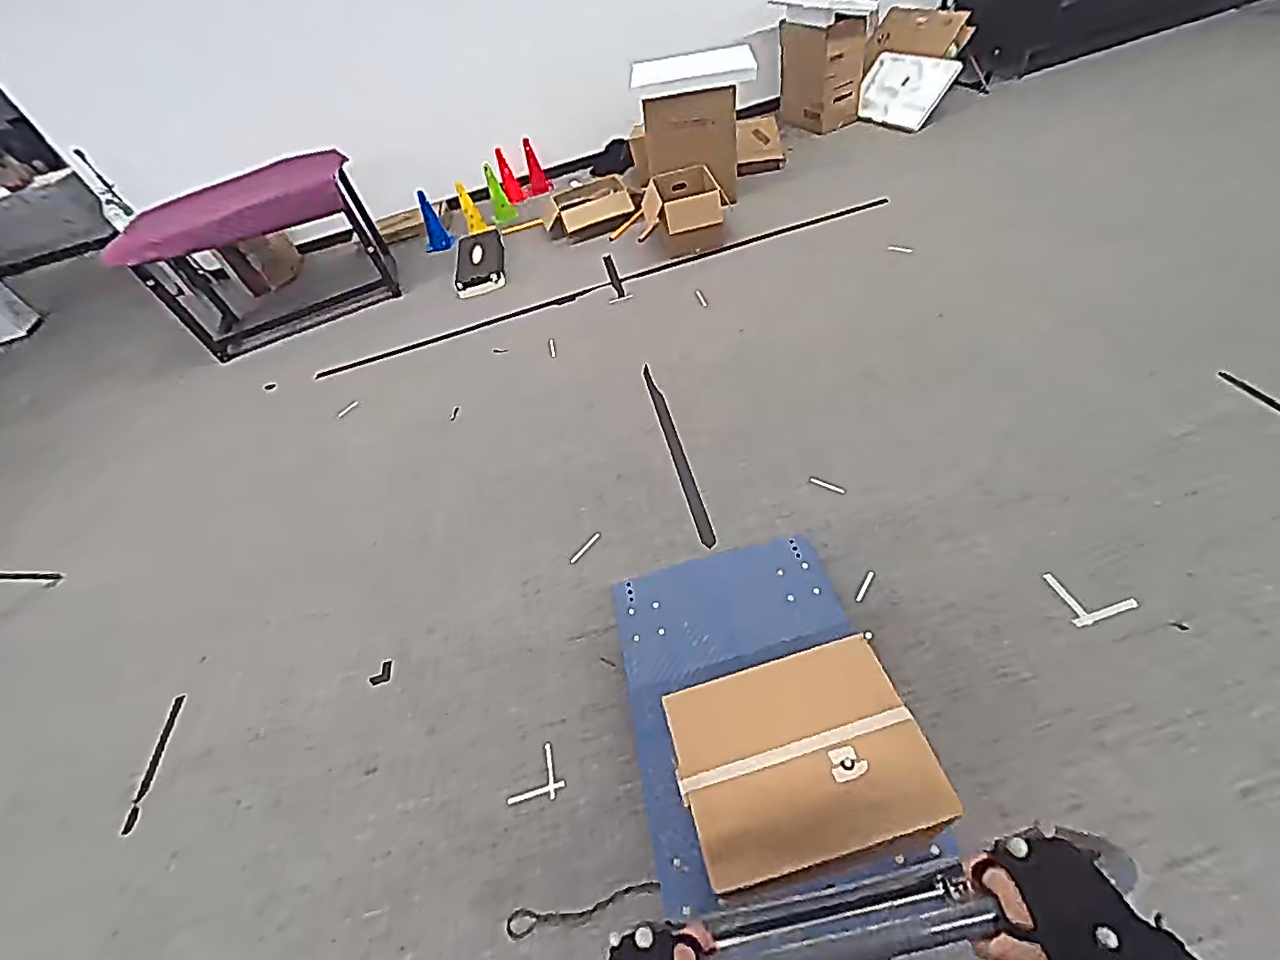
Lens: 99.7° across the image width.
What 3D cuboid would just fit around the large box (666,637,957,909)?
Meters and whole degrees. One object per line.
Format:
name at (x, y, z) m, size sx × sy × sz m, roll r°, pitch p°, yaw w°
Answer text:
large box at (0.297, 0.566, 1.041) m, size 0.408 × 0.320 × 0.320 m, roll -17°, pitch 48°, yaw -2°
